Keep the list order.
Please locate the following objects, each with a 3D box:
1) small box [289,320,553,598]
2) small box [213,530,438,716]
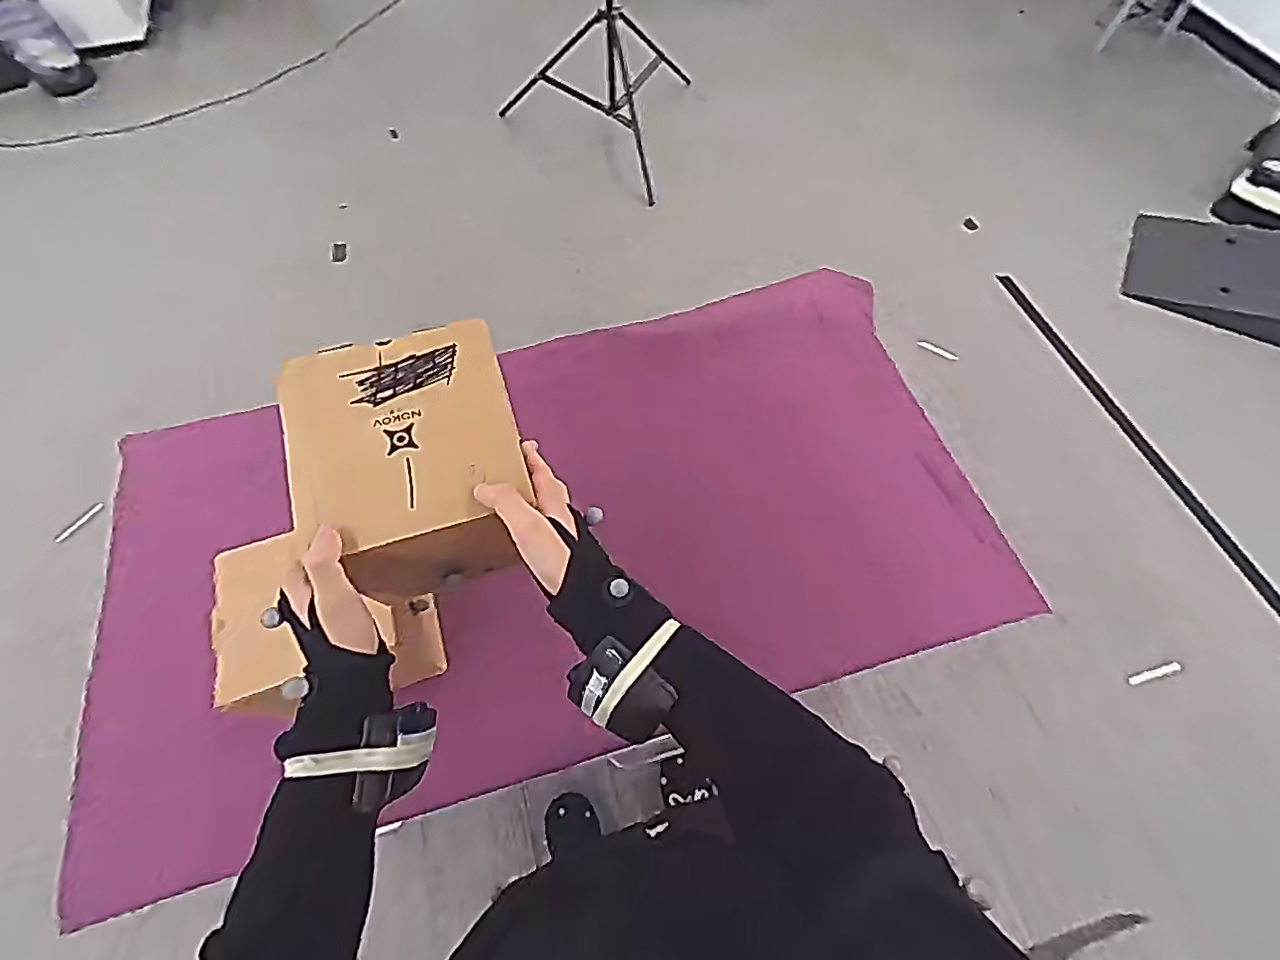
[{"bbox_3d":[-0.182,-0.010,0.488,0.168,0.176,0.179,-16,71,-10],"label":"small box"},{"bbox_3d":[-0.354,0.163,0.638,0.179,0.176,0.168,-19,64,-9],"label":"small box"}]
